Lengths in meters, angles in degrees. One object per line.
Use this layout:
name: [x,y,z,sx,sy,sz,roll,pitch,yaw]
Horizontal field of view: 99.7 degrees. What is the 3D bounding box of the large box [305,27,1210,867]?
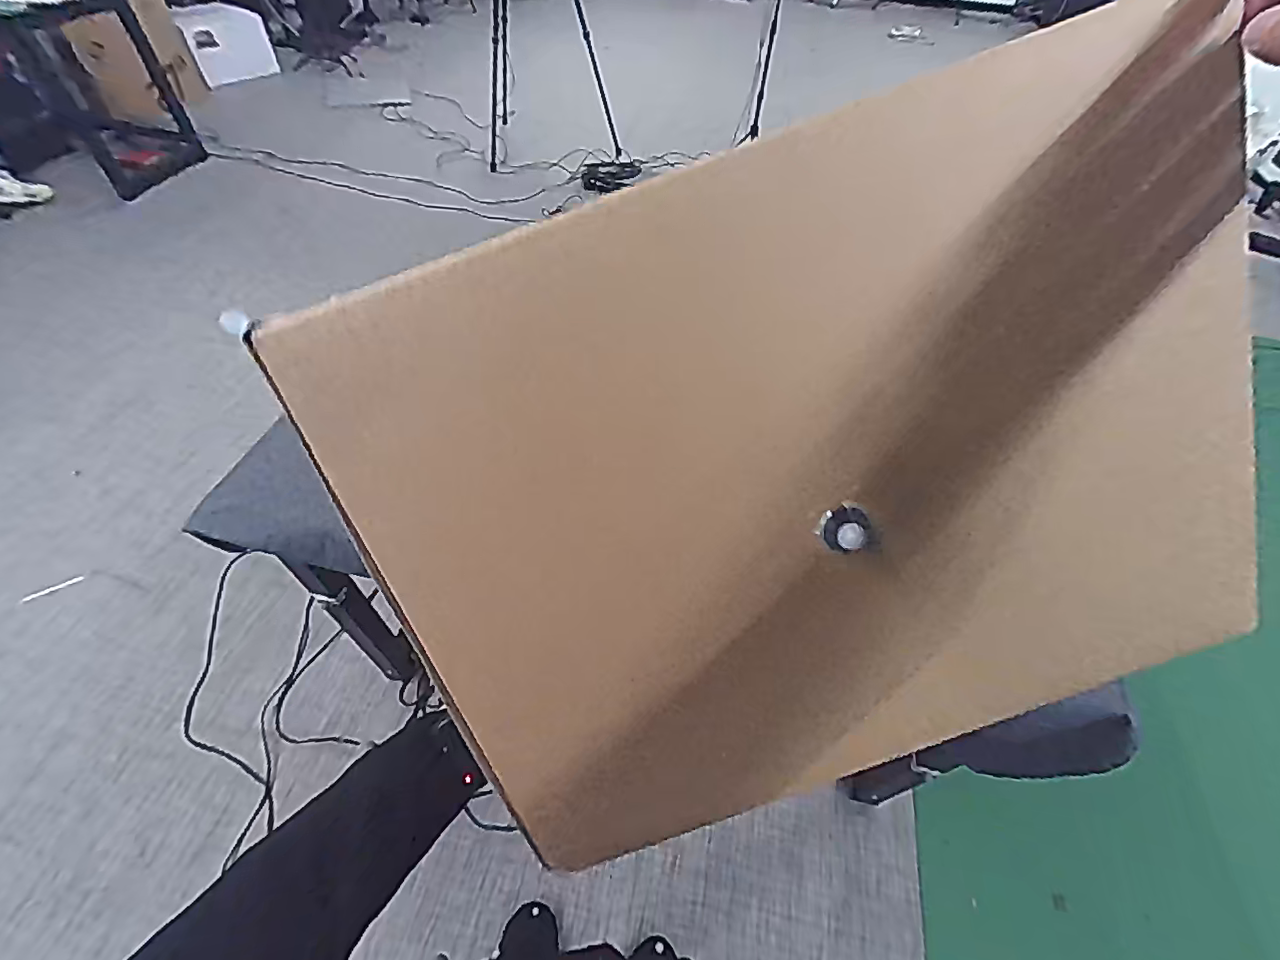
large box: [0.082,-0.021,0.406,0.408,0.320,0.320,-23,17,0]
